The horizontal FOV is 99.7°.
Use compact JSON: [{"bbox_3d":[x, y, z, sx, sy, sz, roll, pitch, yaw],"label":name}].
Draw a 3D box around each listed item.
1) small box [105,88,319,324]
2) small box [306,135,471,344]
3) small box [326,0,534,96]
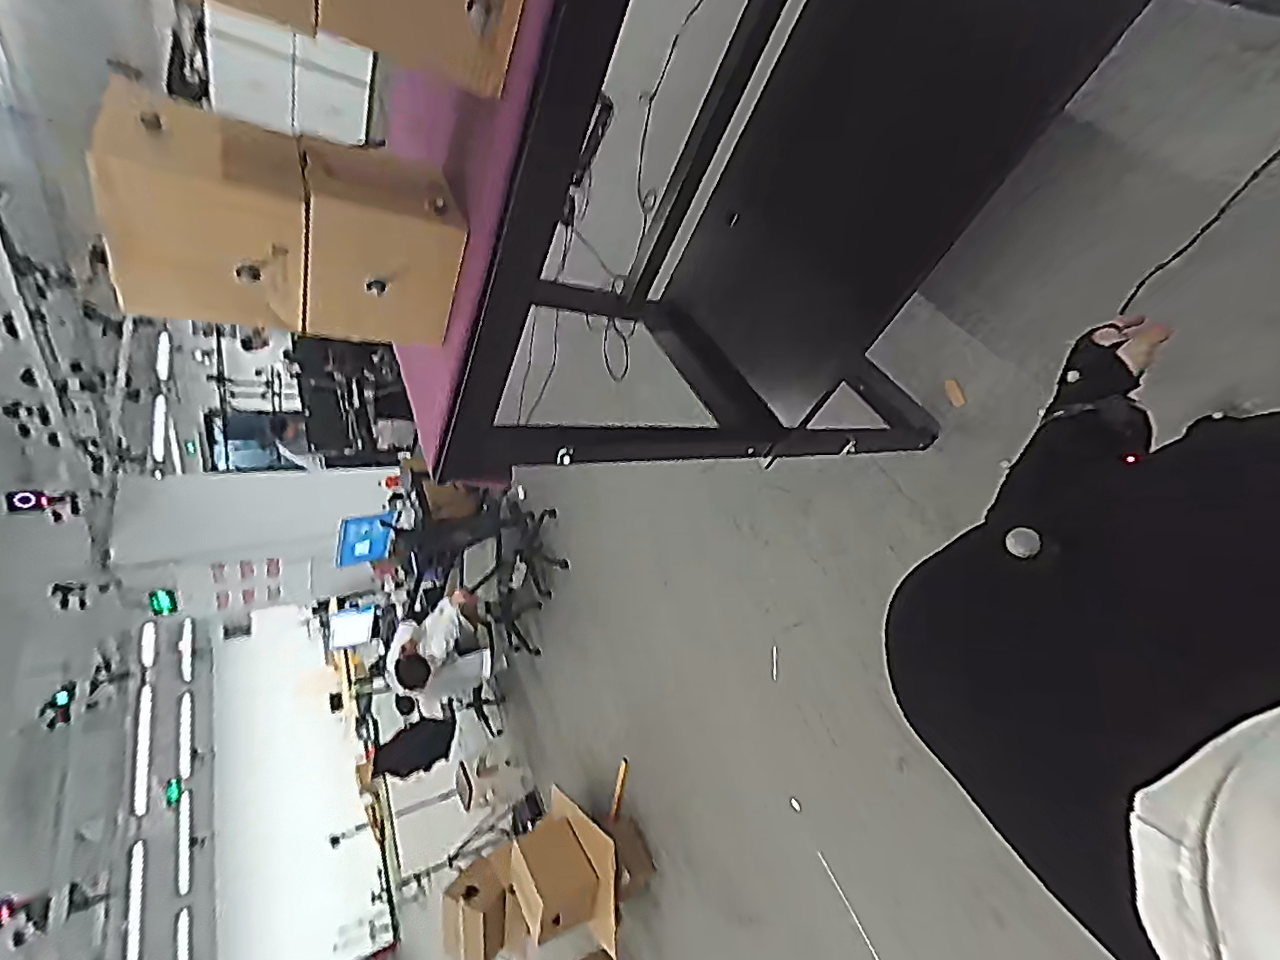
[{"bbox_3d":[-0.468,-0.297,0.615,0.179,0.176,0.168,61,137,32],"label":"small box"},{"bbox_3d":[-0.329,-0.298,0.700,0.168,0.176,0.179,61,138,32],"label":"small box"},{"bbox_3d":[-0.201,-0.502,0.508,0.168,0.176,0.179,-58,48,41],"label":"small box"}]
